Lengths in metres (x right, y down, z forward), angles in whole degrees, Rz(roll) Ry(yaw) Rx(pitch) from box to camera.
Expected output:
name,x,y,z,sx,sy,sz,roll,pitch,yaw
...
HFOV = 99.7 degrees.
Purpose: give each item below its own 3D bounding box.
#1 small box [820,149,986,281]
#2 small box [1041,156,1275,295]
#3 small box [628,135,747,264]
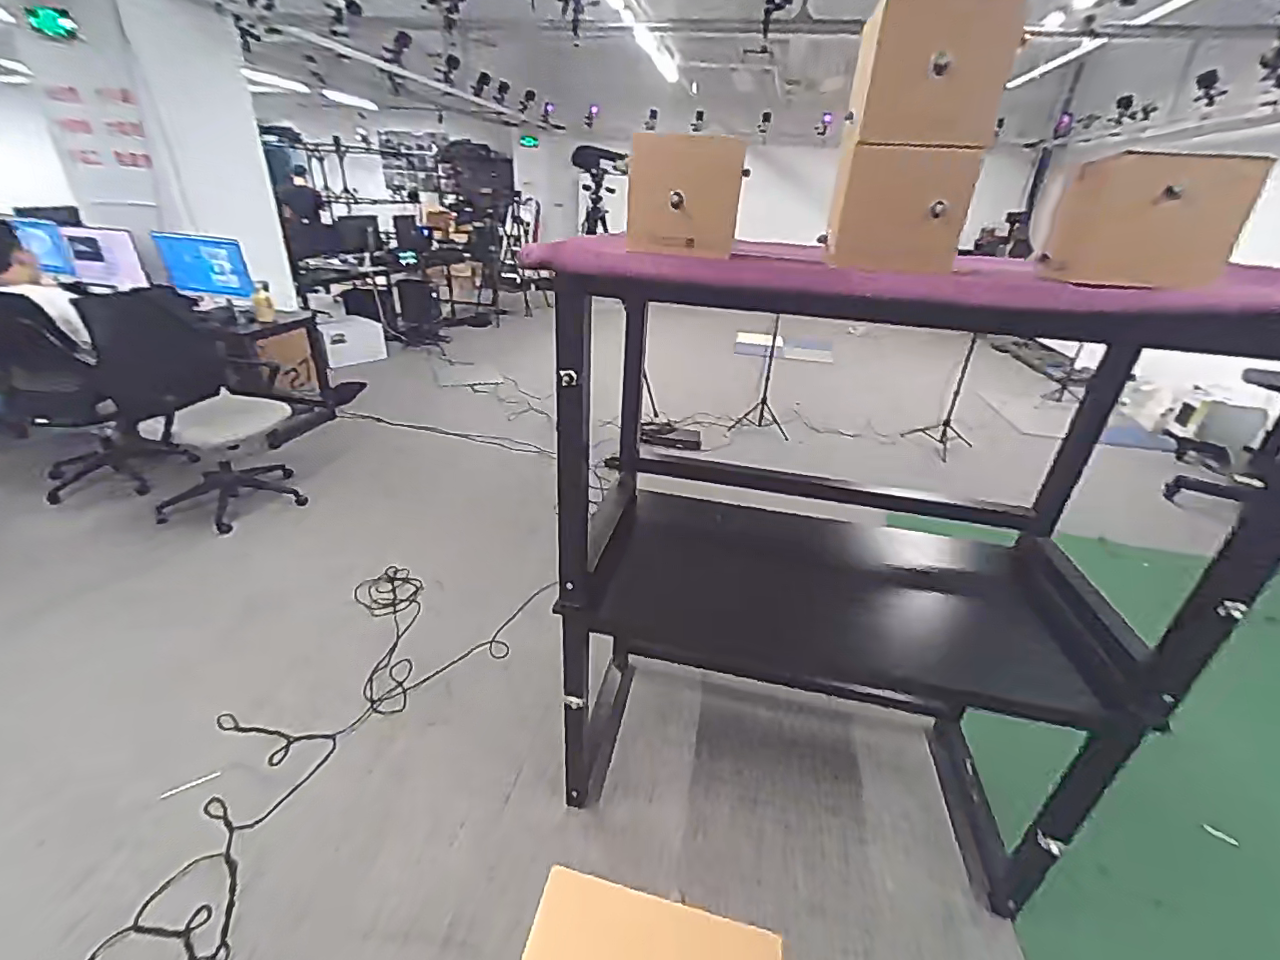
name,x,y,z,sx,sy,sz,roll,pitch,yaw
small box,0.393,-0.409,0.843,0.179,0.176,0.168,7,27,9
small box,0.738,-0.371,0.804,0.179,0.176,0.168,9,26,11
small box,0.078,-0.456,0.887,0.168,0.176,0.179,9,28,8
